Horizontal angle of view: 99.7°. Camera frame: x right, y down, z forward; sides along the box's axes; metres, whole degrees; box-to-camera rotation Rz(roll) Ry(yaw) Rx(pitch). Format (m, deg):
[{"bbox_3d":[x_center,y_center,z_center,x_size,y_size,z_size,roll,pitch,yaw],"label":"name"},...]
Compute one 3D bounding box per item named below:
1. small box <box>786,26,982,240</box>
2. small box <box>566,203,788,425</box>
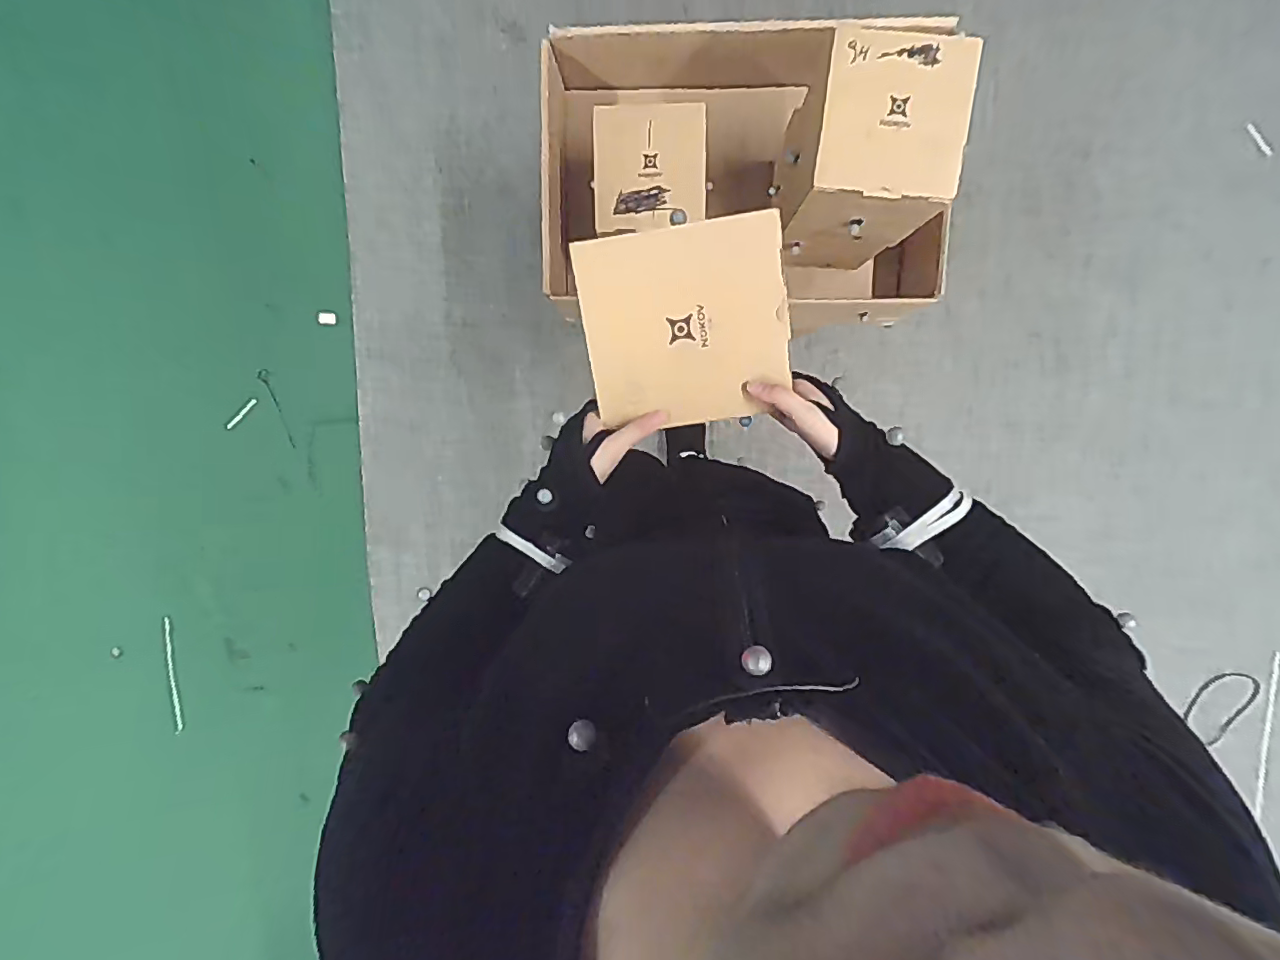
[{"bbox_3d":[0.292,-0.424,0.692,0.168,0.176,0.179,7,99,3],"label":"small box"},{"bbox_3d":[0.037,-0.157,0.540,0.179,0.176,0.168,-8,106,3],"label":"small box"}]
